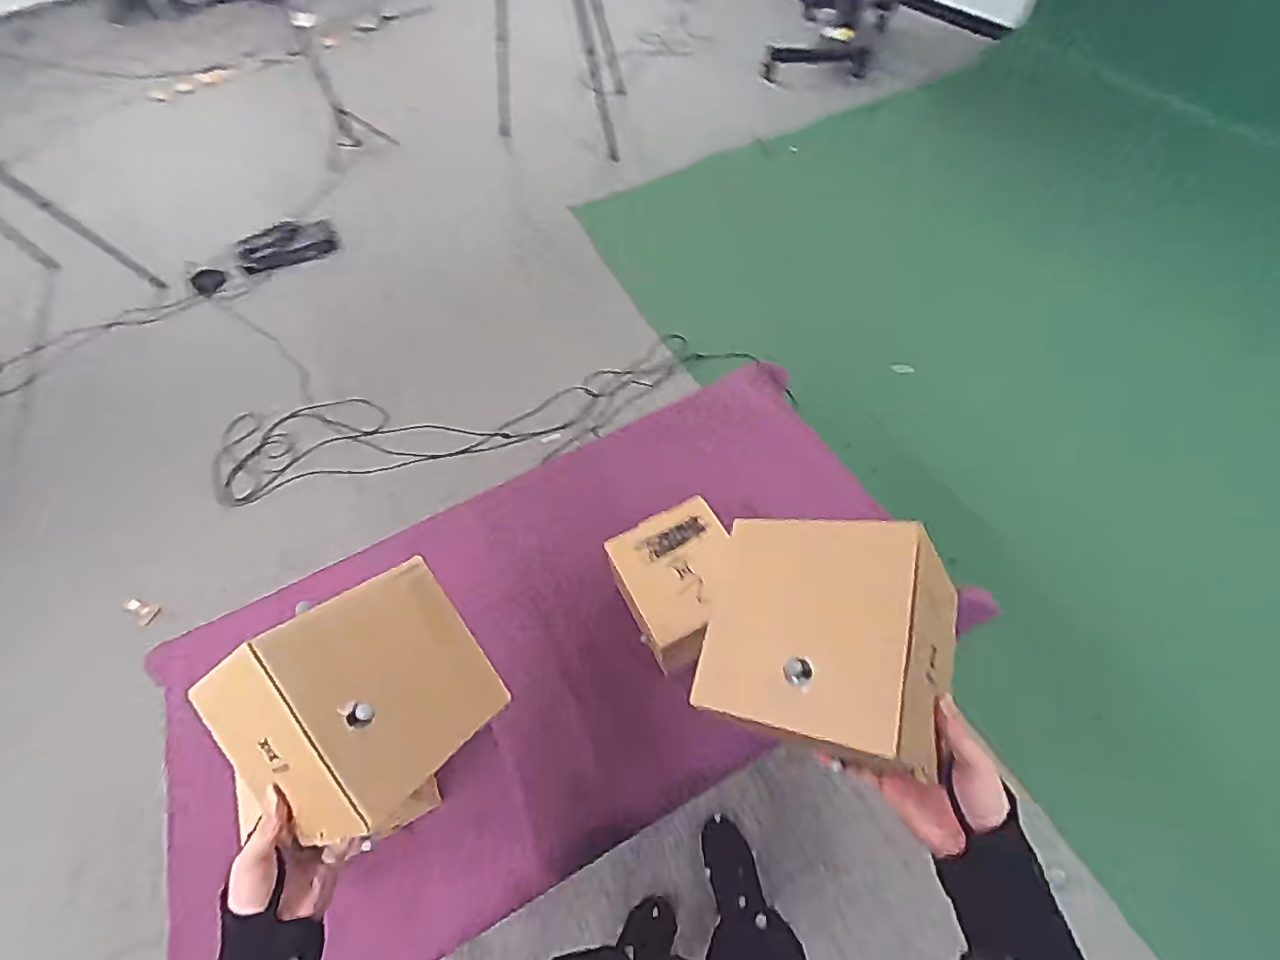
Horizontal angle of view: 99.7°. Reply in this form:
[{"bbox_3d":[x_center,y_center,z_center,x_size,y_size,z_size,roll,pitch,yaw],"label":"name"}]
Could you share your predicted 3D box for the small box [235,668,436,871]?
[{"bbox_3d":[-0.405,0.391,0.734,0.168,0.176,0.179,-27,58,-10],"label":"small box"}]
